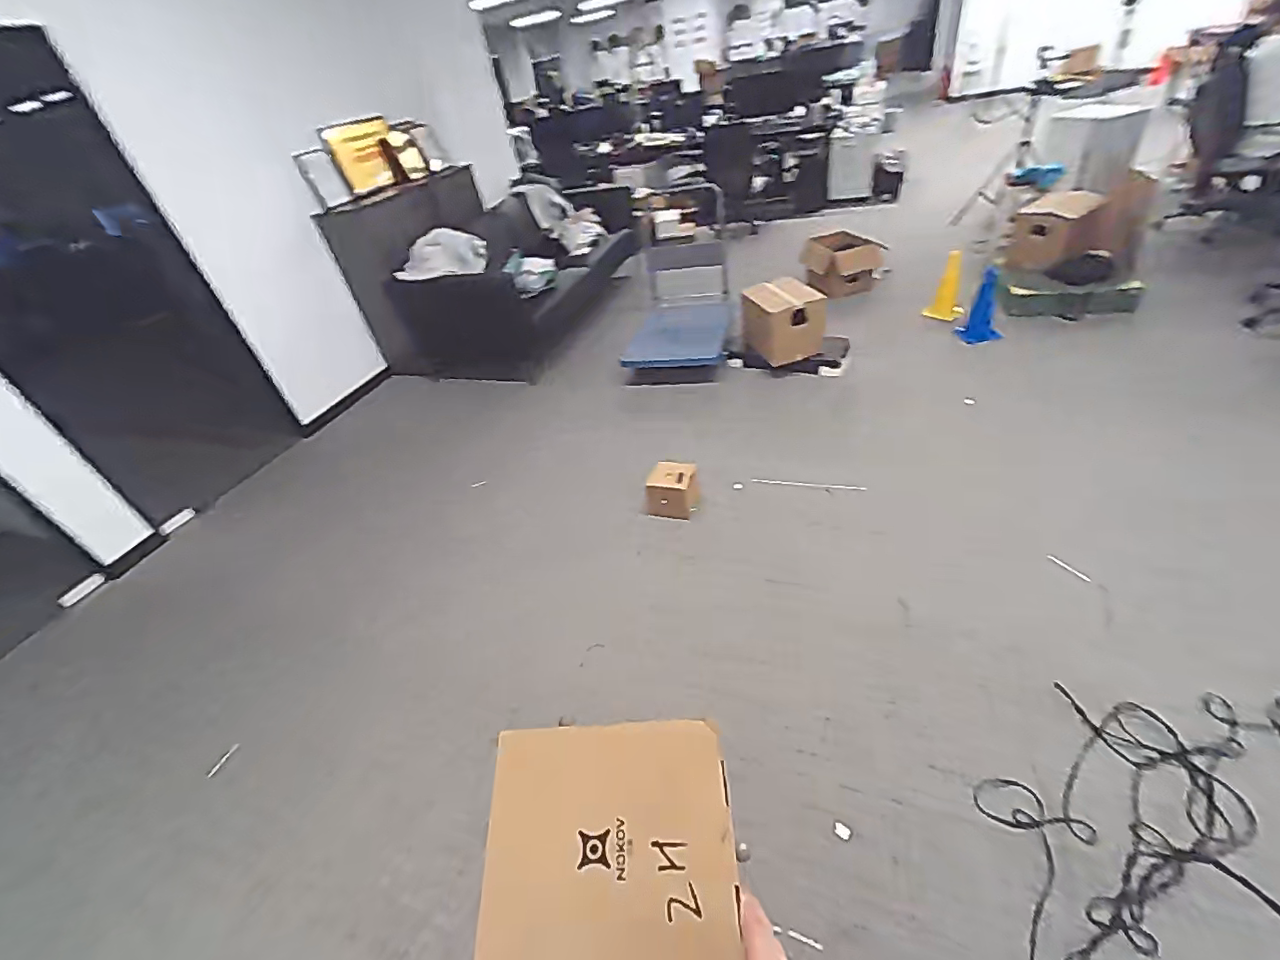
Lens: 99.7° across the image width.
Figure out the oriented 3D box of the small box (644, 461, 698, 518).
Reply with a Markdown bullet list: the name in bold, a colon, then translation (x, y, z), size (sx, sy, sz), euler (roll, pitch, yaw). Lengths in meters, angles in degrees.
- **small box**: translation (0.136, 0.043, 2.267), size (0.179, 0.176, 0.168), euler (5, 41, 23)

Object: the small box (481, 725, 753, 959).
- **small box**: translation (-0.006, 0.305, 0.435), size (0.179, 0.176, 0.168), euler (-5, 54, 5)
